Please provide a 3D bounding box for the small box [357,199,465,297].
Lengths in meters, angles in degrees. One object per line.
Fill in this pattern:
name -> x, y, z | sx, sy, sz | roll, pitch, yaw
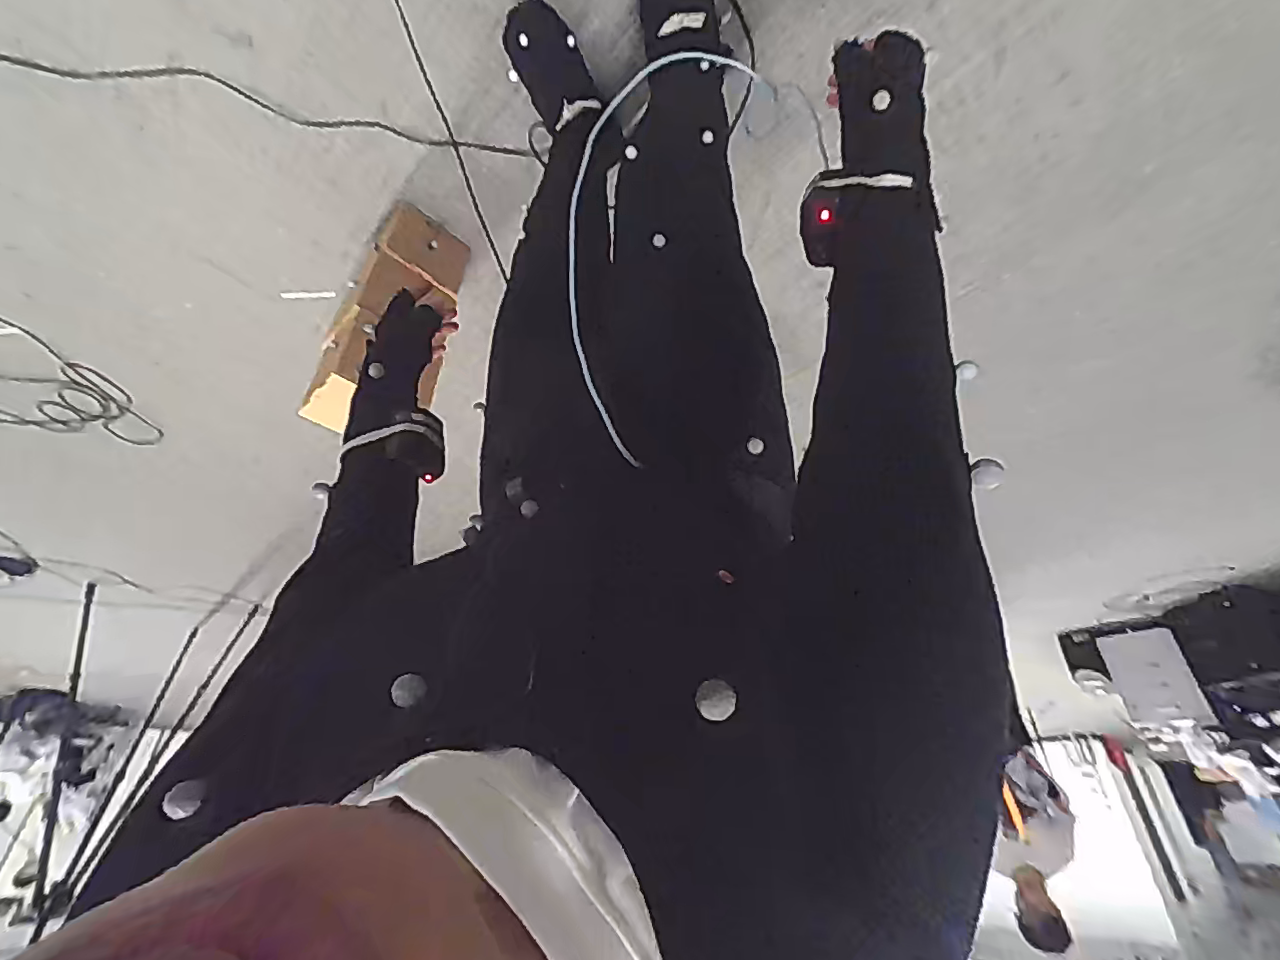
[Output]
small box -> -0.511, -0.478, 1.206 | 0.179, 0.176, 0.168 | -26, 139, 35

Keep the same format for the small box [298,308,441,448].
small box -> -0.512, -0.194, 1.044 | 0.168, 0.176, 0.179 | -25, 140, 35

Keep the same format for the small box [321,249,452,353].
small box -> -0.517, -0.336, 1.123 | 0.168, 0.176, 0.179 | -25, 140, 35
